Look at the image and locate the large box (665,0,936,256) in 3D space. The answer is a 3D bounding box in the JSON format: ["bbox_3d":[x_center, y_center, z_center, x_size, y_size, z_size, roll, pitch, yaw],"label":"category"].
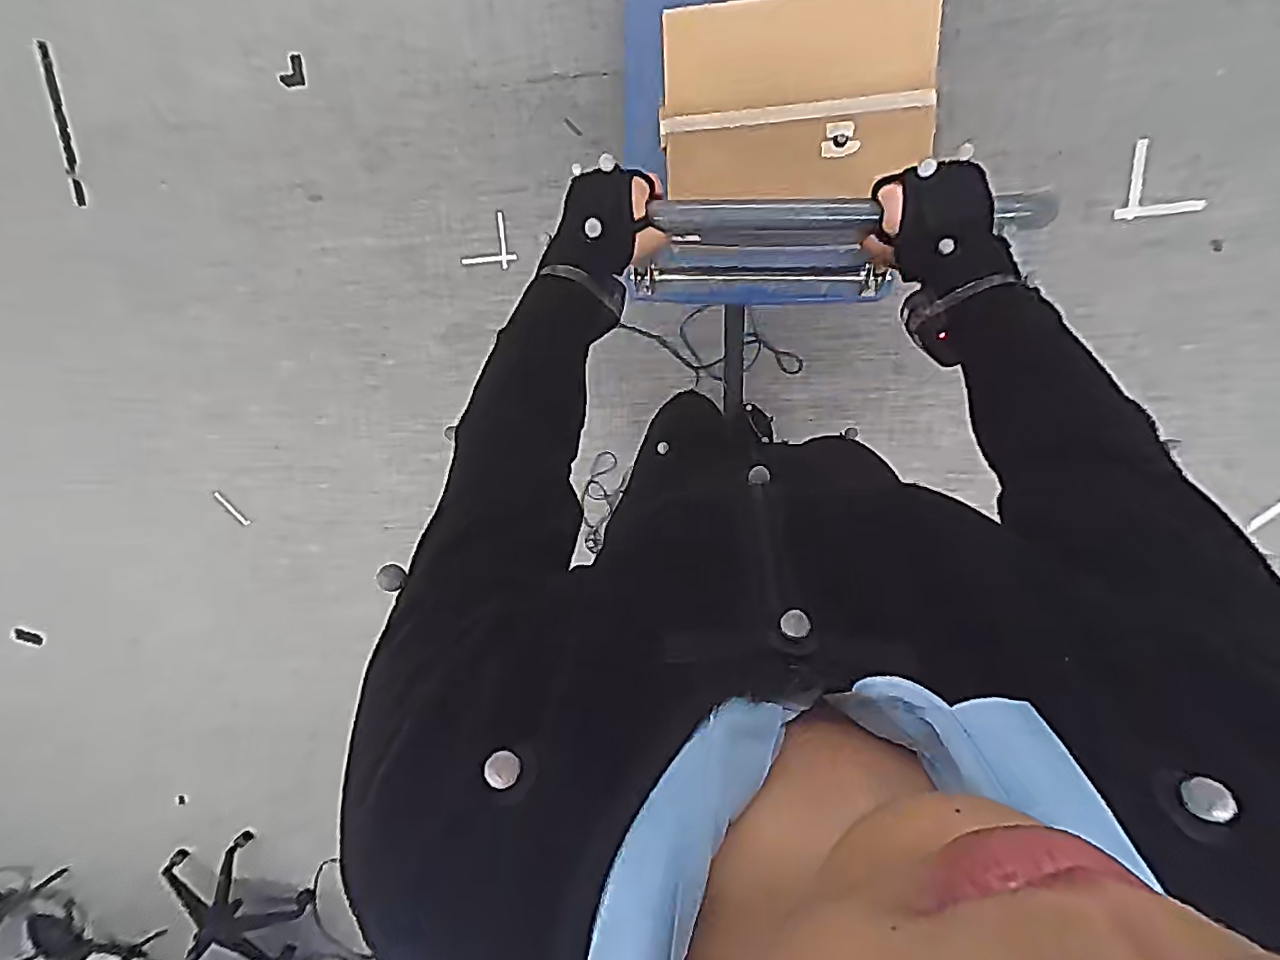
[{"bbox_3d":[0.261,-0.610,0.990,0.408,0.320,0.320,-1,106,7],"label":"large box"}]
